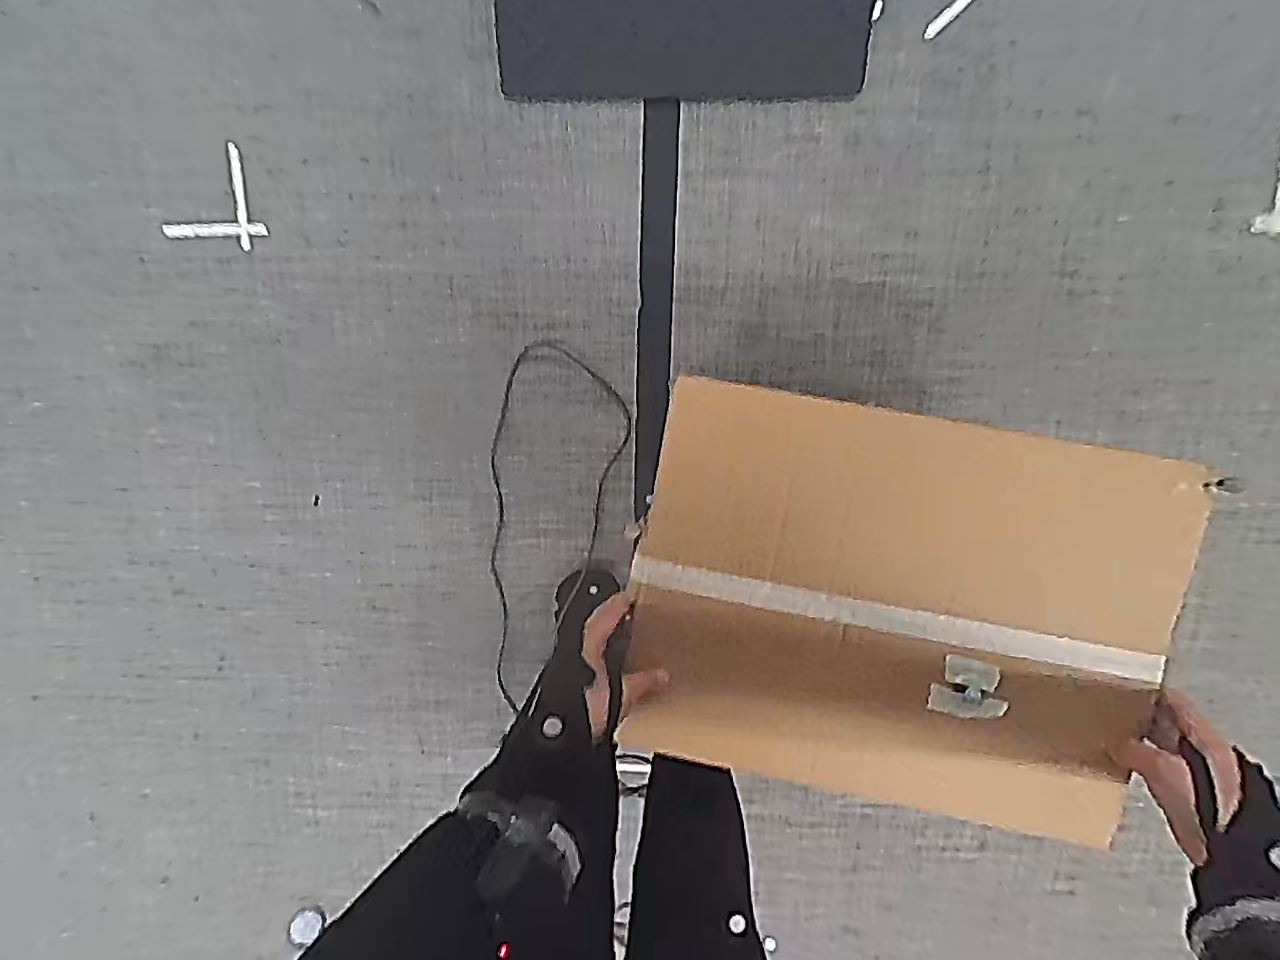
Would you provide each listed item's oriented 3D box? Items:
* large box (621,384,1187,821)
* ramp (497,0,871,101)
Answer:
[{"bbox_3d":[0.210,0.086,0.588,0.408,0.320,0.320,10,98,4],"label":"large box"},{"bbox_3d":[0.056,-0.987,0.561,0.509,0.206,0.991,-1,102,1],"label":"ramp"}]
